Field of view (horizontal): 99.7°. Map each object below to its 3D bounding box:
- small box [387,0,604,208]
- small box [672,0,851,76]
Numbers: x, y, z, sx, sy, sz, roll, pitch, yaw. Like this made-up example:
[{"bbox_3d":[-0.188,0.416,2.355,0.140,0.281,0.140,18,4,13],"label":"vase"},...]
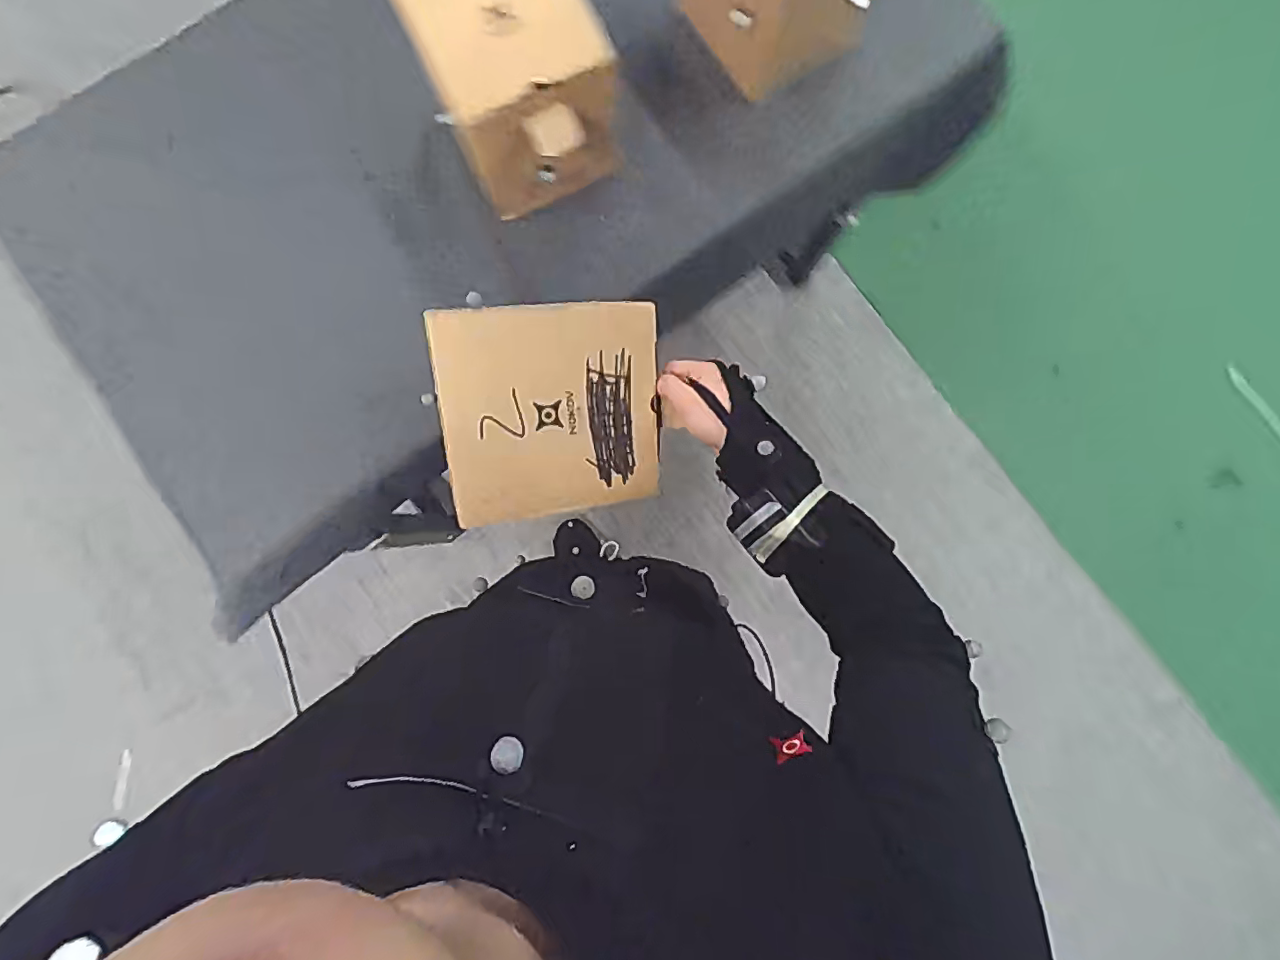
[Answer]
[{"bbox_3d":[-0.150,-0.446,0.593,0.168,0.176,0.179,-28,86,-4],"label":"small box"},{"bbox_3d":[0.148,-0.610,0.612,0.168,0.176,0.179,-36,85,-5],"label":"small box"}]
